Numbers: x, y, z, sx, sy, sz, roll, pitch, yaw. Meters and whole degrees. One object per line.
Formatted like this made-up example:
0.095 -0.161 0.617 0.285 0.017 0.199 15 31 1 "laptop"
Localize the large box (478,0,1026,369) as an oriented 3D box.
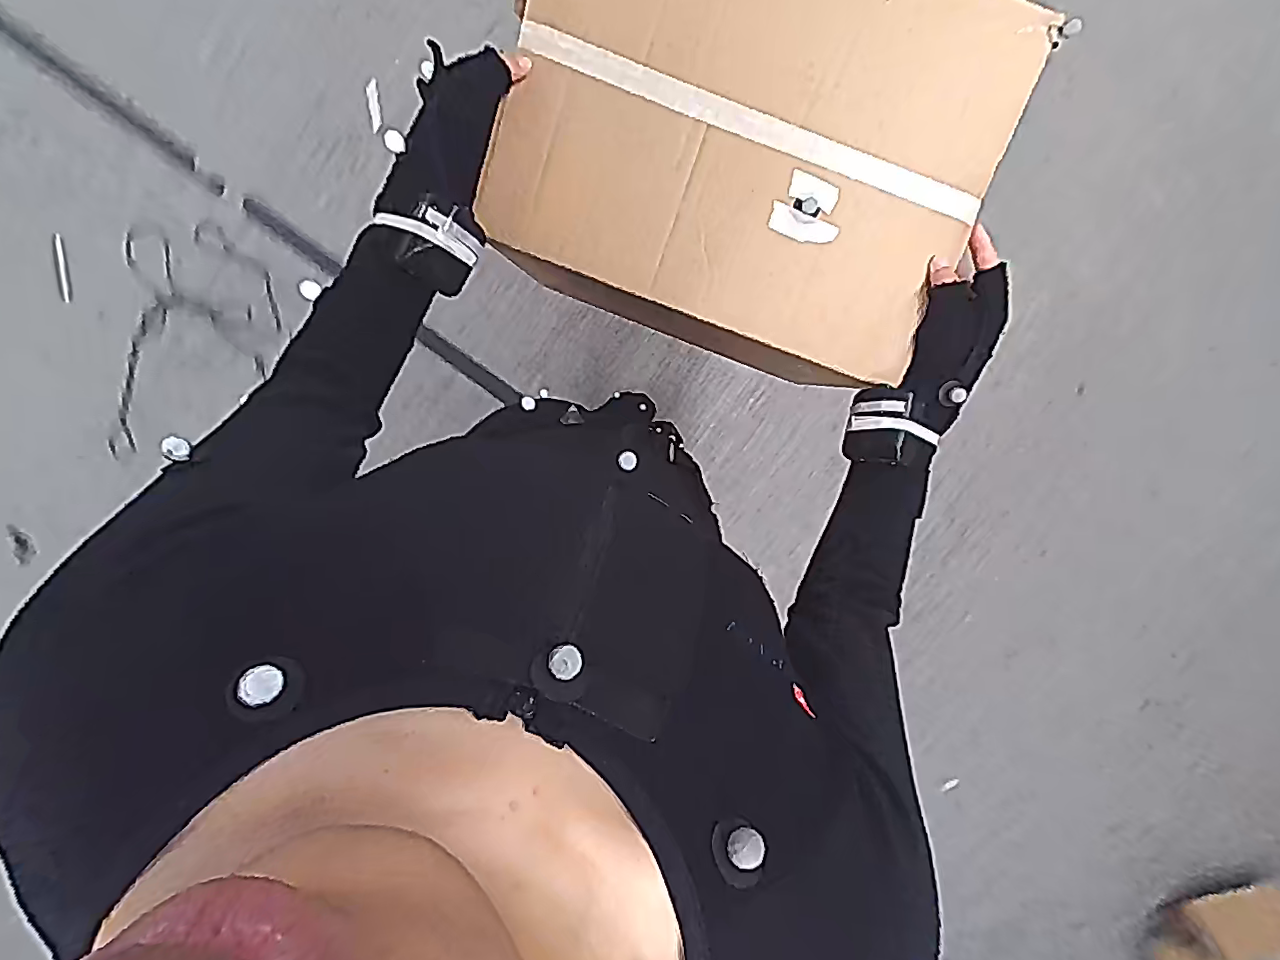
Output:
0.086 -0.332 0.608 0.408 0.320 0.320 18 102 -3 "large box"
